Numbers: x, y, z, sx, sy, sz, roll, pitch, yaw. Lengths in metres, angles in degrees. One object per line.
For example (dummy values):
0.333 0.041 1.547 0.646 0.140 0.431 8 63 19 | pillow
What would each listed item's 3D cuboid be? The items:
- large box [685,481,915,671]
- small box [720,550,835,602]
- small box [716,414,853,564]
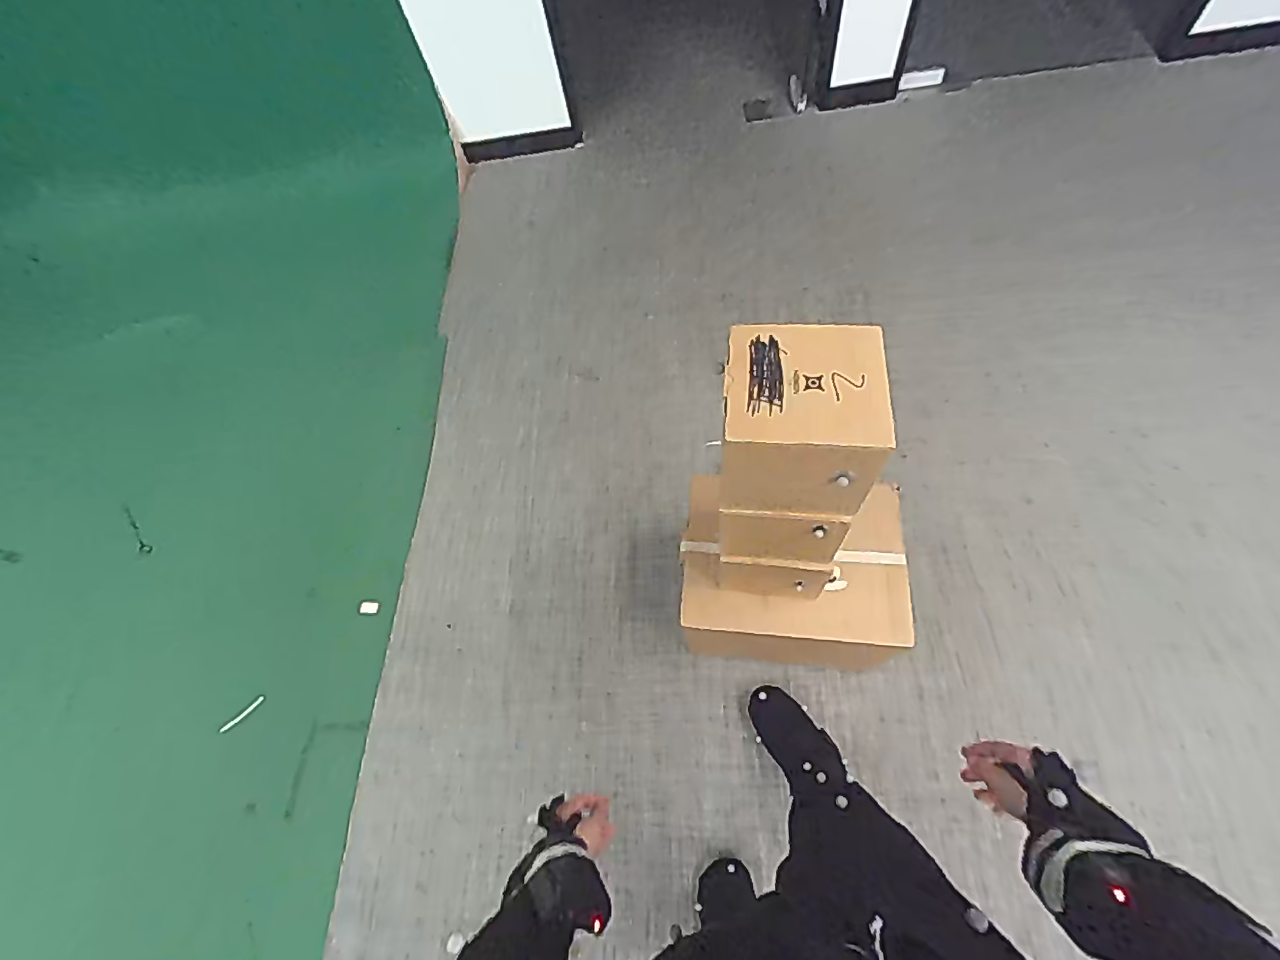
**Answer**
0.305 0.213 1.148 0.408 0.320 0.320 3 64 8 | large box
0.232 0.106 0.939 0.179 0.176 0.168 3 62 11 | small box
0.206 0.018 0.804 0.179 0.176 0.168 3 62 9 | small box
